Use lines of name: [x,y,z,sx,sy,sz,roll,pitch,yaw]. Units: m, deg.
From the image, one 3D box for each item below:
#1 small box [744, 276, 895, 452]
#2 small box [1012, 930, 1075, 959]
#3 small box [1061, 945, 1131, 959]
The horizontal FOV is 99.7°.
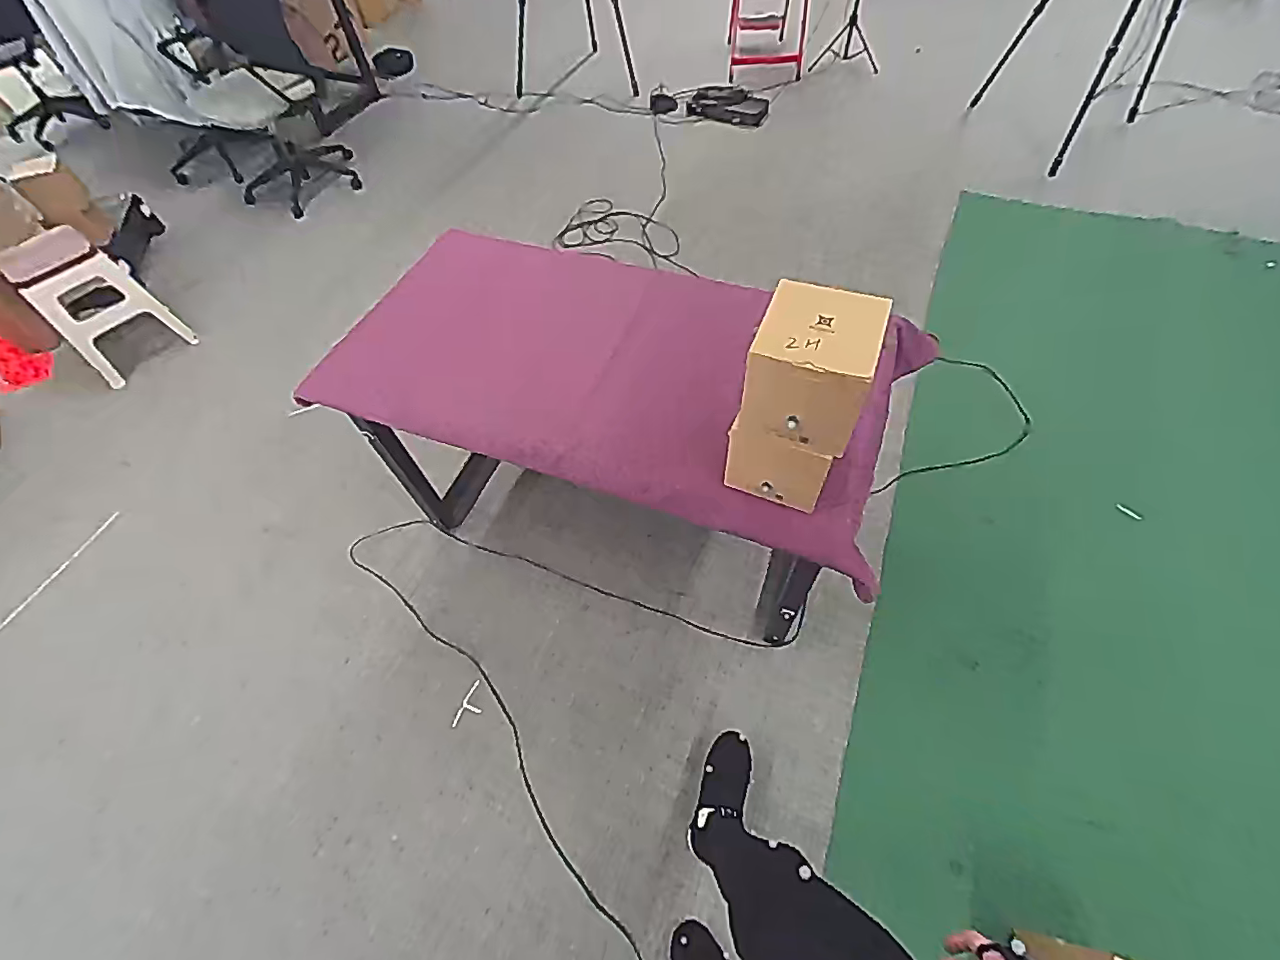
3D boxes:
small box: [0.263,-0.173,0.820,0.168,0.176,0.179,18,59,16]
small box: [0.867,1.026,1.063,0.179,0.176,0.168,17,59,15]
small box: [0.858,0.940,0.927,0.179,0.176,0.168,18,59,14]
